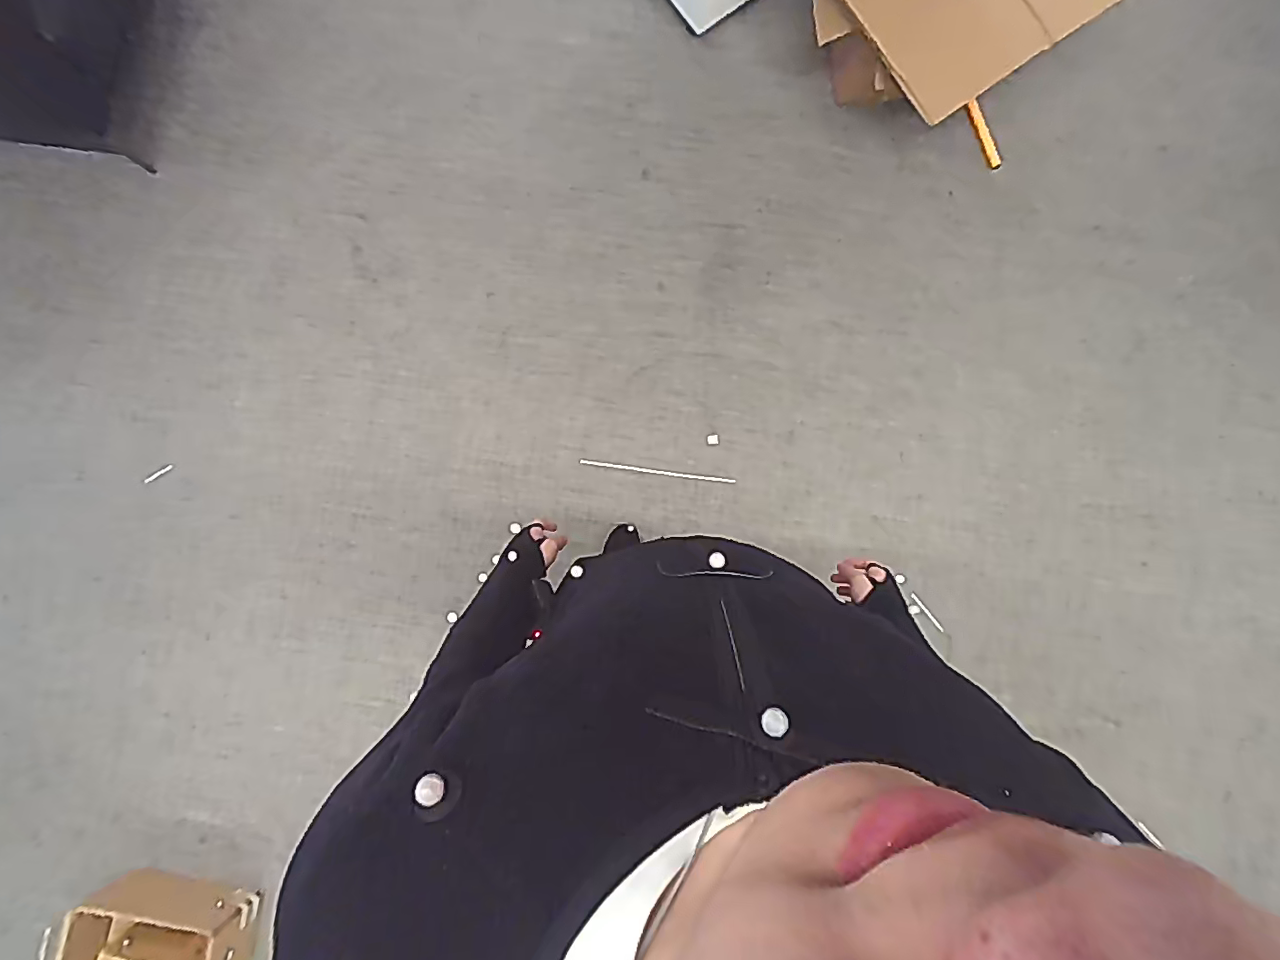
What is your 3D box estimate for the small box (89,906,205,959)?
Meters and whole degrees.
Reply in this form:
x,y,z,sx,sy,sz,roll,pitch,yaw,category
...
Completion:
x,y,z,sx,sy,sz,roll,pitch,yaw,category
-1.322,1.289,1.443,0.179,0.176,0.168,13,86,2,small box
